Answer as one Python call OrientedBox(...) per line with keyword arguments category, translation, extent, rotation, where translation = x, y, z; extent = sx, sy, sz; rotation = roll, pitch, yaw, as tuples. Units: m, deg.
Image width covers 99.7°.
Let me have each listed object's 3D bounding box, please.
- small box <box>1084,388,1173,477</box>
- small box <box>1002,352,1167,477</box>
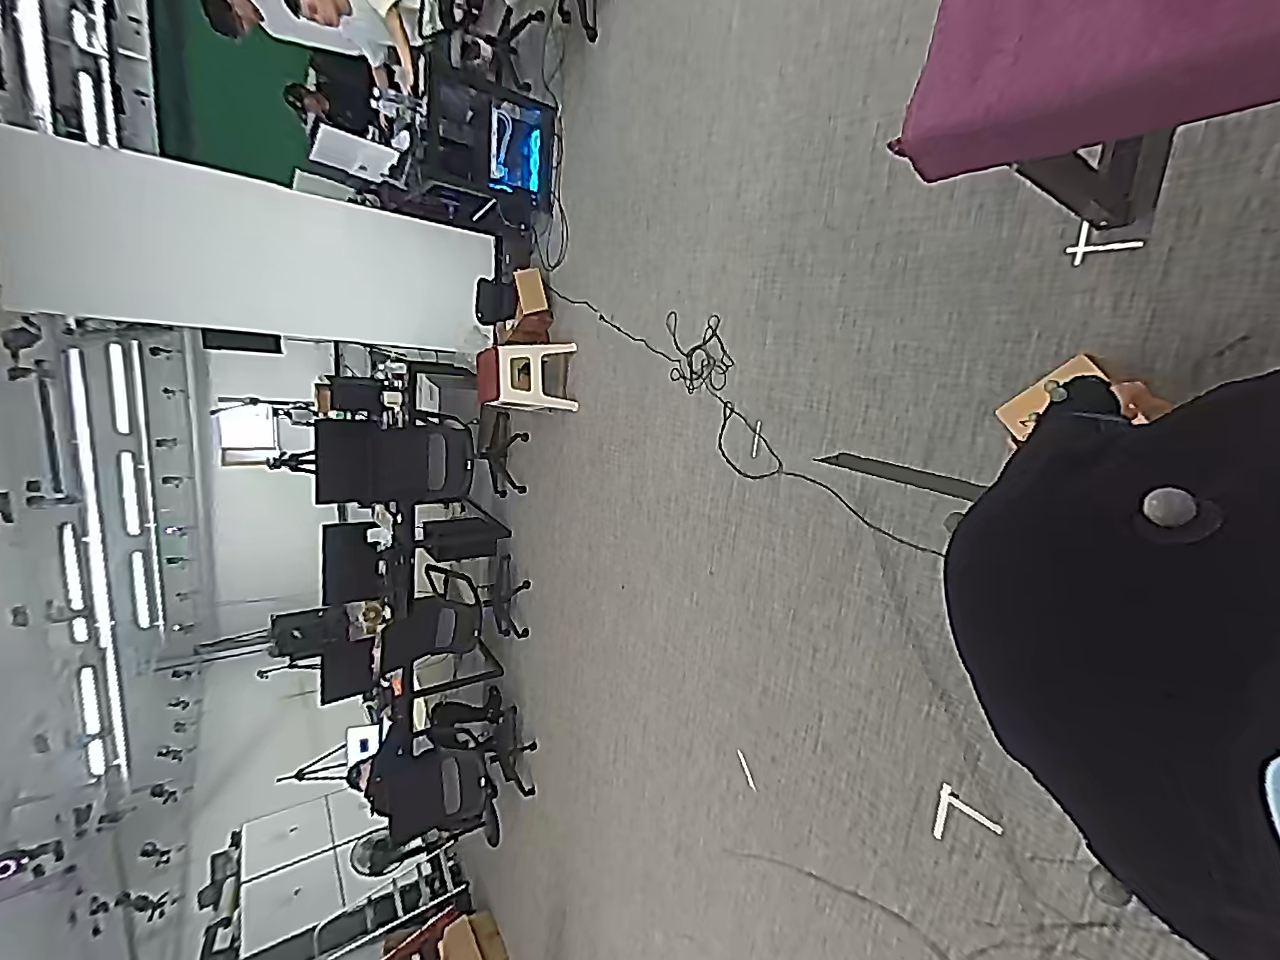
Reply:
OrientedBox(category="small box", translation=(0.975, -0.125, 1.154), extent=(0.168, 0.176, 0.179), rotation=(49, 130, 40))
OrientedBox(category="small box", translation=(0.855, -0.121, 1.038), extent=(0.179, 0.176, 0.168), rotation=(-49, 54, 44))
